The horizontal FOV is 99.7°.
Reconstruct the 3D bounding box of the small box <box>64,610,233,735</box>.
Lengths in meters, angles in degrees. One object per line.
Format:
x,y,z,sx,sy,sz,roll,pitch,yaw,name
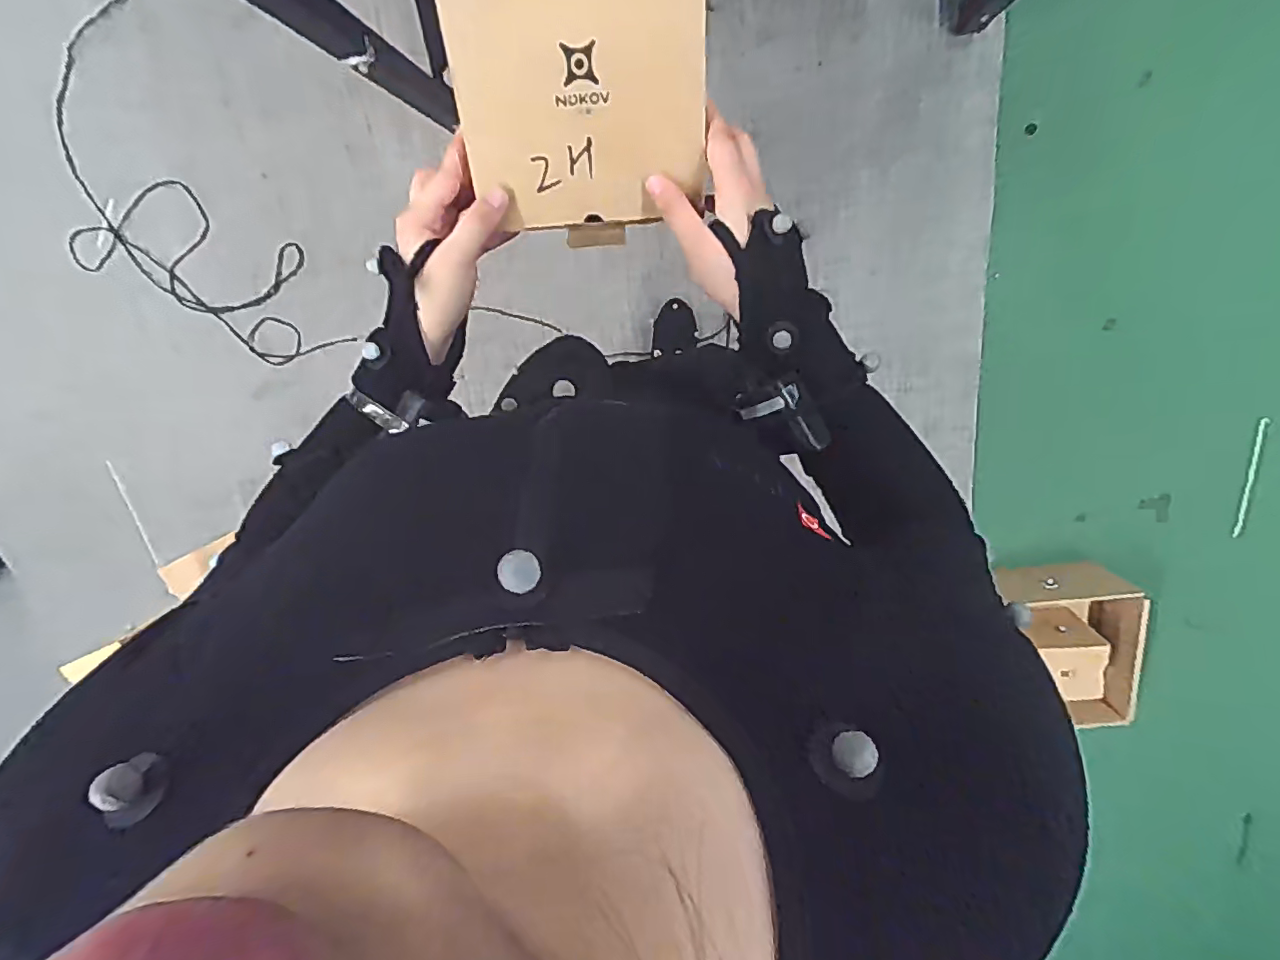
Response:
-1.051,0.405,1.174,0.168,0.176,0.179,-23,105,11,small box

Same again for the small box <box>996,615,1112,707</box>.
1.077,0.469,1.419,0.179,0.176,0.168,-6,109,8,small box

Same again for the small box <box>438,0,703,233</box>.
-0.043,-0.300,0.422,0.168,0.176,0.179,-3,122,2,small box
